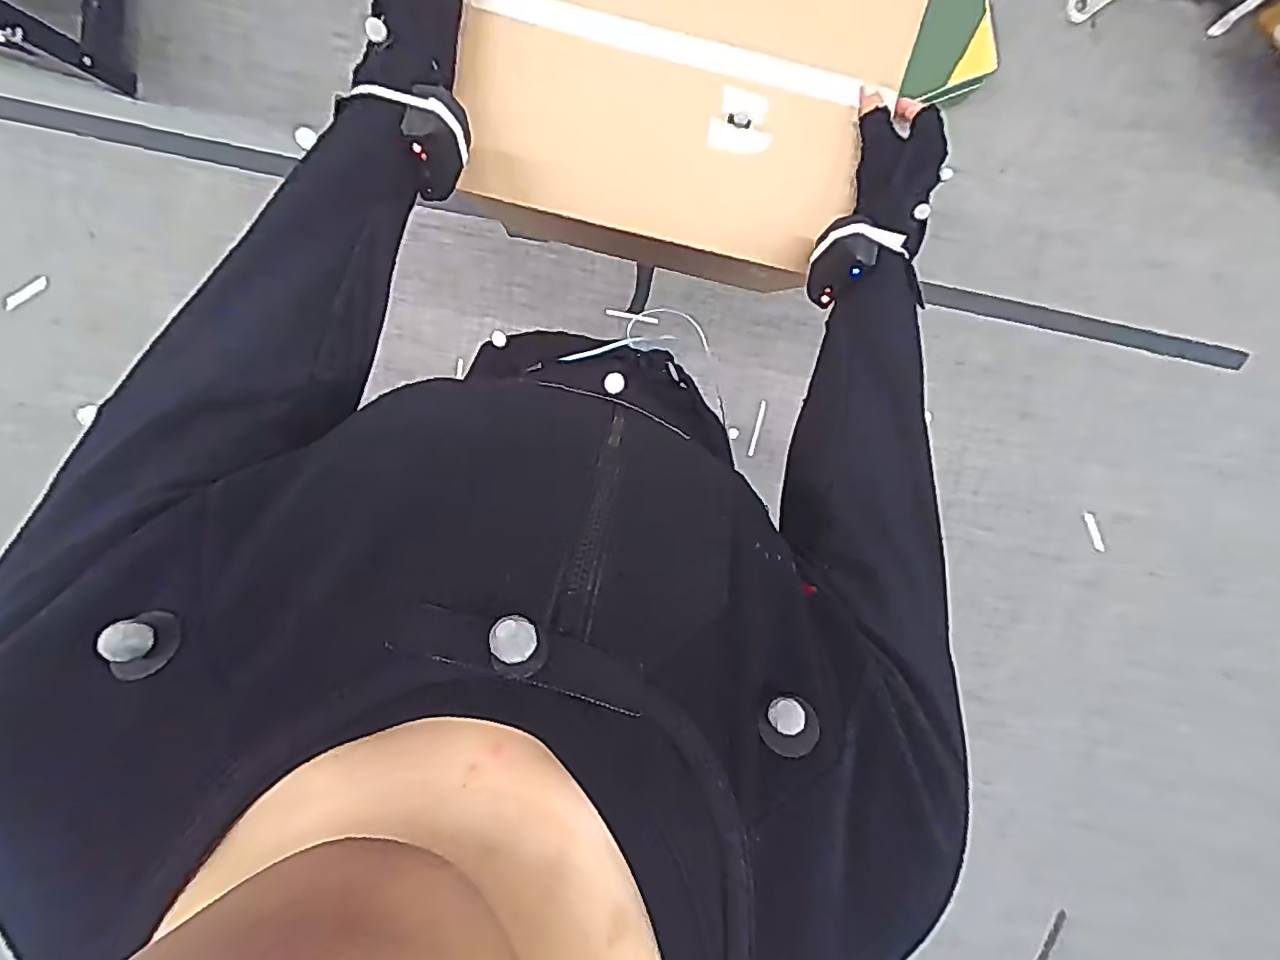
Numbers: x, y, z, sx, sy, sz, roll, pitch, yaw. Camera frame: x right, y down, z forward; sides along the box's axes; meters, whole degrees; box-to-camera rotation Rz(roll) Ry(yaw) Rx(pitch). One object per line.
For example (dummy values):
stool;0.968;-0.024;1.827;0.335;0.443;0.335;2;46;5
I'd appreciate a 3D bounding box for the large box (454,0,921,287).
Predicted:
large box;0.039;-0.436;0.640;0.408;0.320;0.320;12;108;-4
